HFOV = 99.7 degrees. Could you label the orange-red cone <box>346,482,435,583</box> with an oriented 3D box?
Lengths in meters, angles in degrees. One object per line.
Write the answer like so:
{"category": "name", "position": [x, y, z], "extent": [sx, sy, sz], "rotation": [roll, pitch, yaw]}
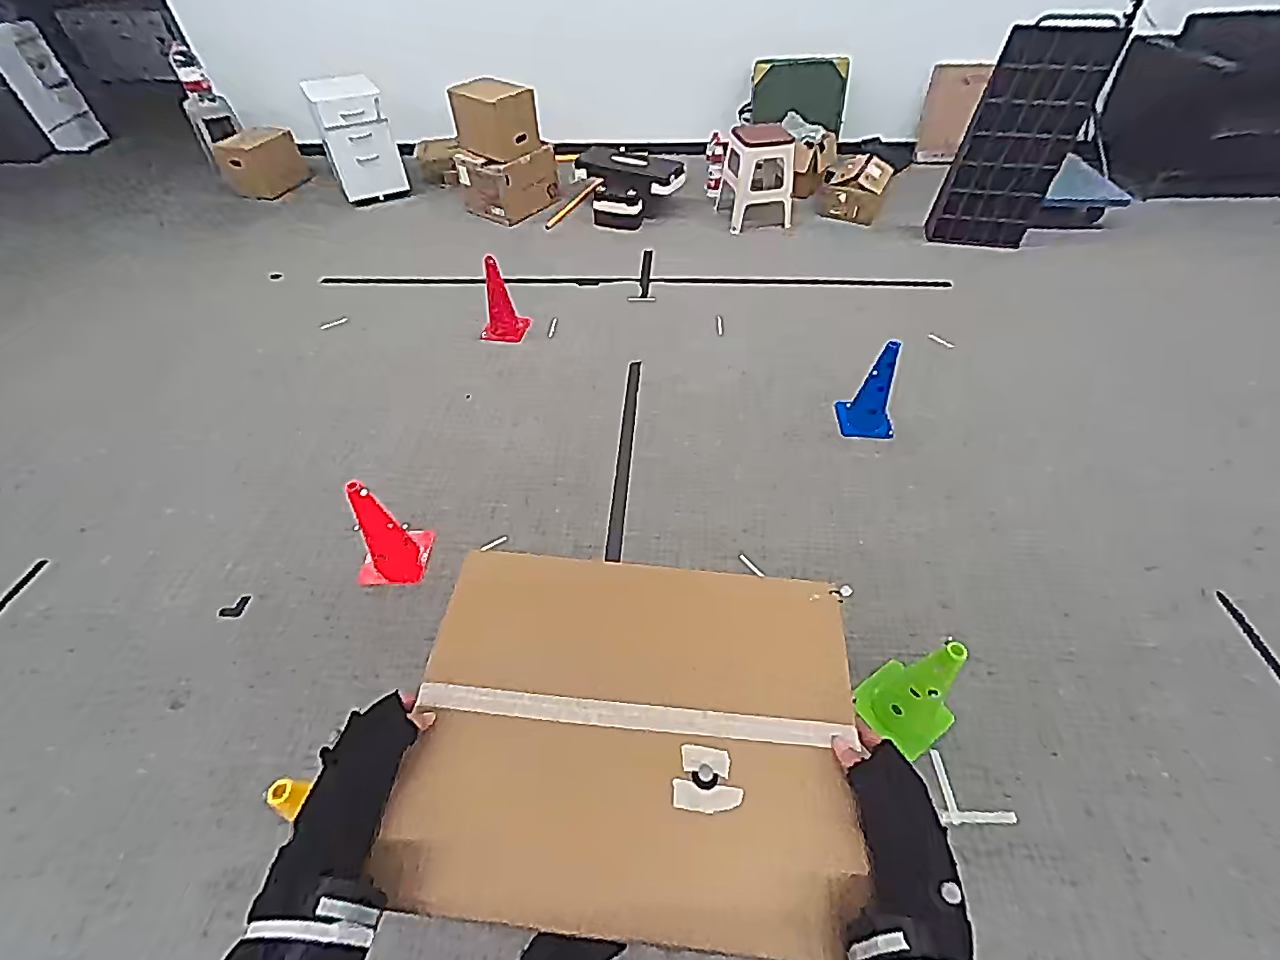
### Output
{"category": "orange-red cone", "position": [-0.780, 0.136, 1.610], "extent": [0.198, 0.360, 0.199], "rotation": [-1, 50, 2]}

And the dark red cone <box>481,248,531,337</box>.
{"category": "dark red cone", "position": [-0.635, -0.849, 2.448], "extent": [0.201, 0.394, 0.202], "rotation": [7, 49, 6]}

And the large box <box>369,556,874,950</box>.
{"category": "large box", "position": [-0.009, 0.311, 0.624], "extent": [0.408, 0.320, 0.320], "rotation": [5, 53, 3]}

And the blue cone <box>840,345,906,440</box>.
{"category": "blue cone", "position": [0.897, -0.338, 2.018], "extent": [0.192, 0.380, 0.193], "rotation": [5, 49, 4]}

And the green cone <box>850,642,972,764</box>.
{"category": "green cone", "position": [0.678, 0.484, 1.271], "extent": [0.202, 0.368, 0.200], "rotation": [-27, 54, -23]}
